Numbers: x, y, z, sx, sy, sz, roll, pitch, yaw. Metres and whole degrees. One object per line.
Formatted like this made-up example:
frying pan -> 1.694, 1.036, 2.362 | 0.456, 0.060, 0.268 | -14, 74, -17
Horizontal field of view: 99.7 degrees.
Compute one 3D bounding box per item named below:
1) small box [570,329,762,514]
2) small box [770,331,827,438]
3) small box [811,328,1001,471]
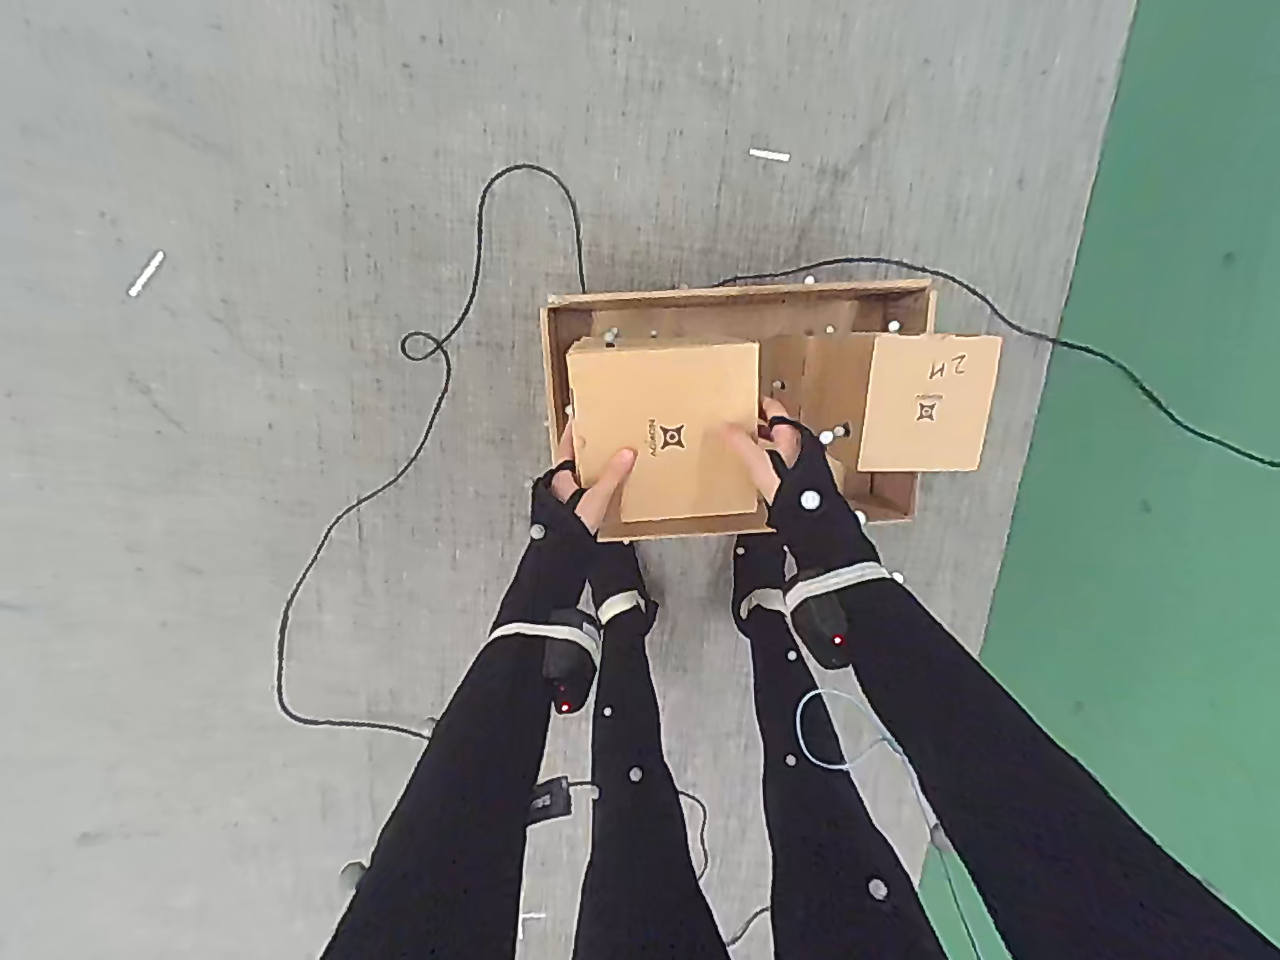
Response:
small box -> 0.020, -0.072, 0.580 | 0.179, 0.176, 0.168 | -3, 107, -3
small box -> 0.329, -0.163, 0.915 | 0.179, 0.176, 0.168 | 1, 105, -3
small box -> 0.354, -0.118, 0.757 | 0.168, 0.176, 0.179 | 1, 105, -5
